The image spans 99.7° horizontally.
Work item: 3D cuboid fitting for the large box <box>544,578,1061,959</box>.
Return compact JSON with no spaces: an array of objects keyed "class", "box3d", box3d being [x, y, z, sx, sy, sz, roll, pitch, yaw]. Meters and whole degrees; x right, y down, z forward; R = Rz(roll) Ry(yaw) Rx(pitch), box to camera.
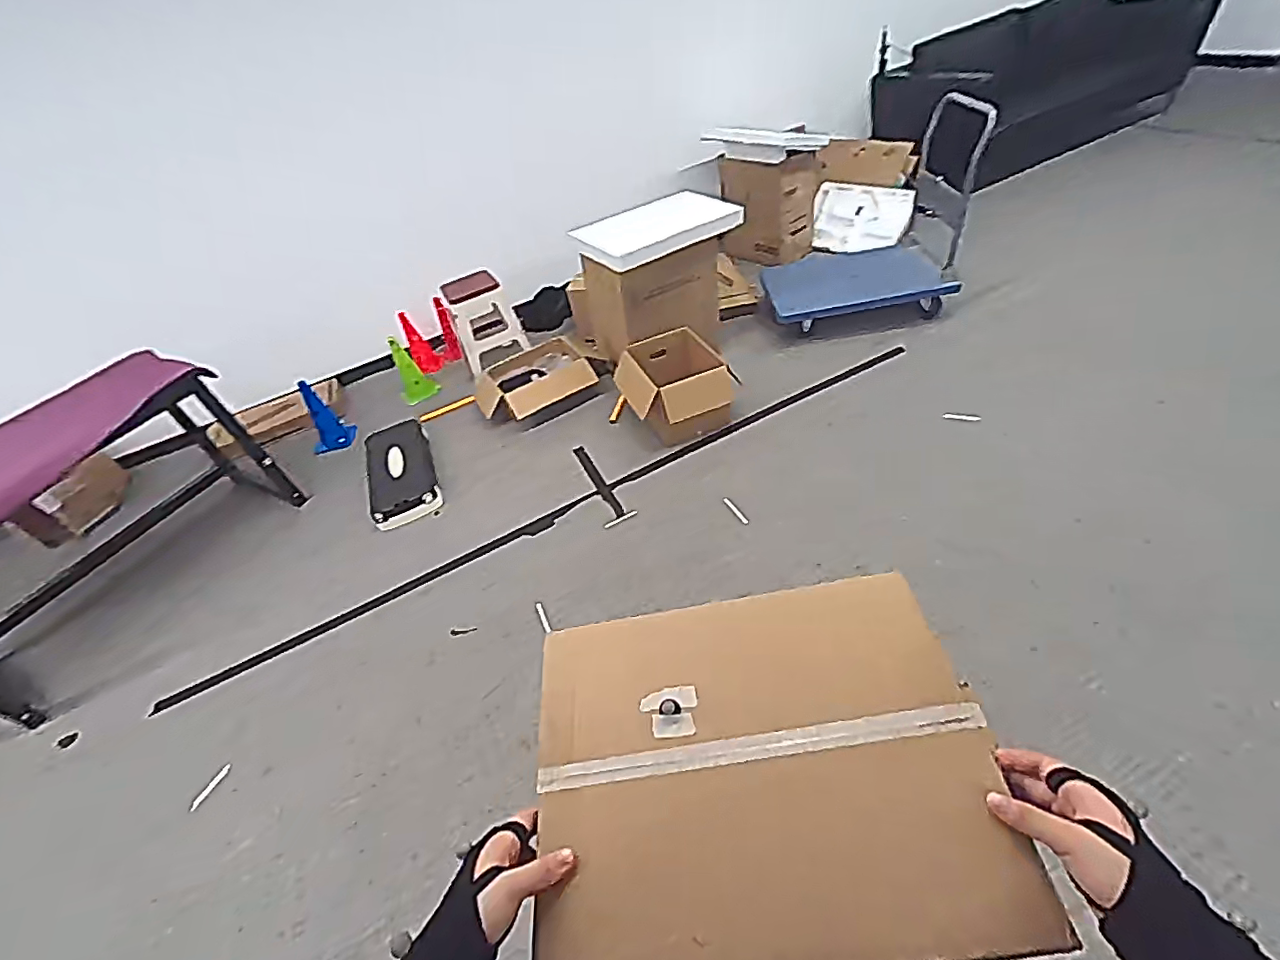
[{"class":"large box","box3d":[0.138,0.356,0.618,0.408,0.320,0.320,-12,45,7]}]
